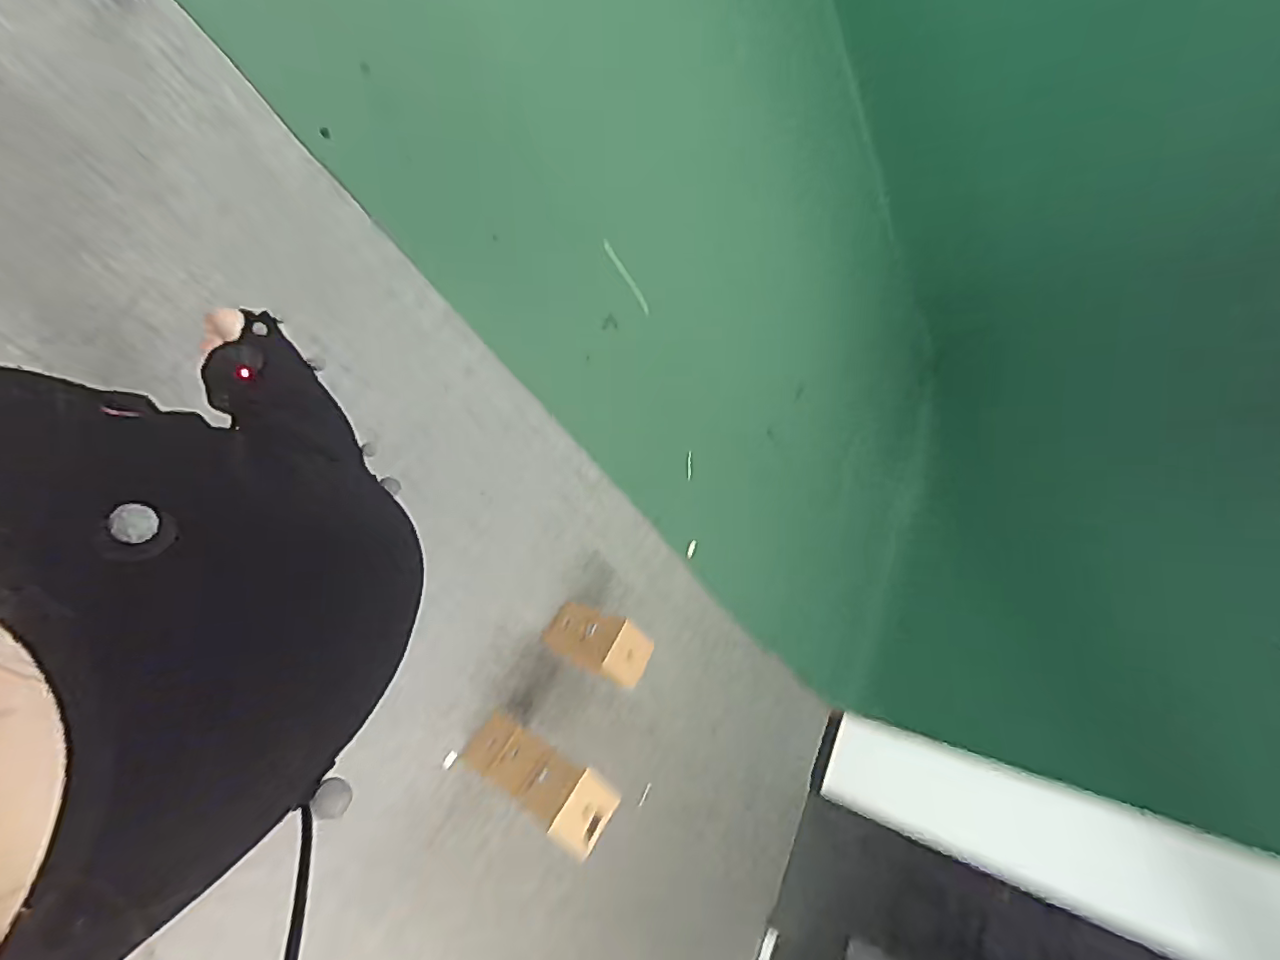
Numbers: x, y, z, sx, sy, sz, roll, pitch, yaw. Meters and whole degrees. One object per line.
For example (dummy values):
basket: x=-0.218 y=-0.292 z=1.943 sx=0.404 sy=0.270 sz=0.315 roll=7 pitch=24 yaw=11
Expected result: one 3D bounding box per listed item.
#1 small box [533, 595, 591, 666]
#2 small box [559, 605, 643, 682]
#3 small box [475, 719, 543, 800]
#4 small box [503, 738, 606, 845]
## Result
small box: x=-0.243 y=0.523 z=1.898 sx=0.168 sy=0.176 sz=0.179 roll=-55 pitch=127 yaw=-27
small box: x=-0.130 y=0.532 z=1.781 sx=0.179 sy=0.176 sz=0.168 roll=50 pitch=58 yaw=-34
small box: x=-0.344 y=0.834 z=1.586 sx=0.168 sy=0.176 sz=0.179 roll=-52 pitch=125 yaw=-30
small box: x=-0.233 y=0.834 z=1.465 sx=0.168 sy=0.176 sz=0.179 roll=-50 pitch=123 yaw=-30
